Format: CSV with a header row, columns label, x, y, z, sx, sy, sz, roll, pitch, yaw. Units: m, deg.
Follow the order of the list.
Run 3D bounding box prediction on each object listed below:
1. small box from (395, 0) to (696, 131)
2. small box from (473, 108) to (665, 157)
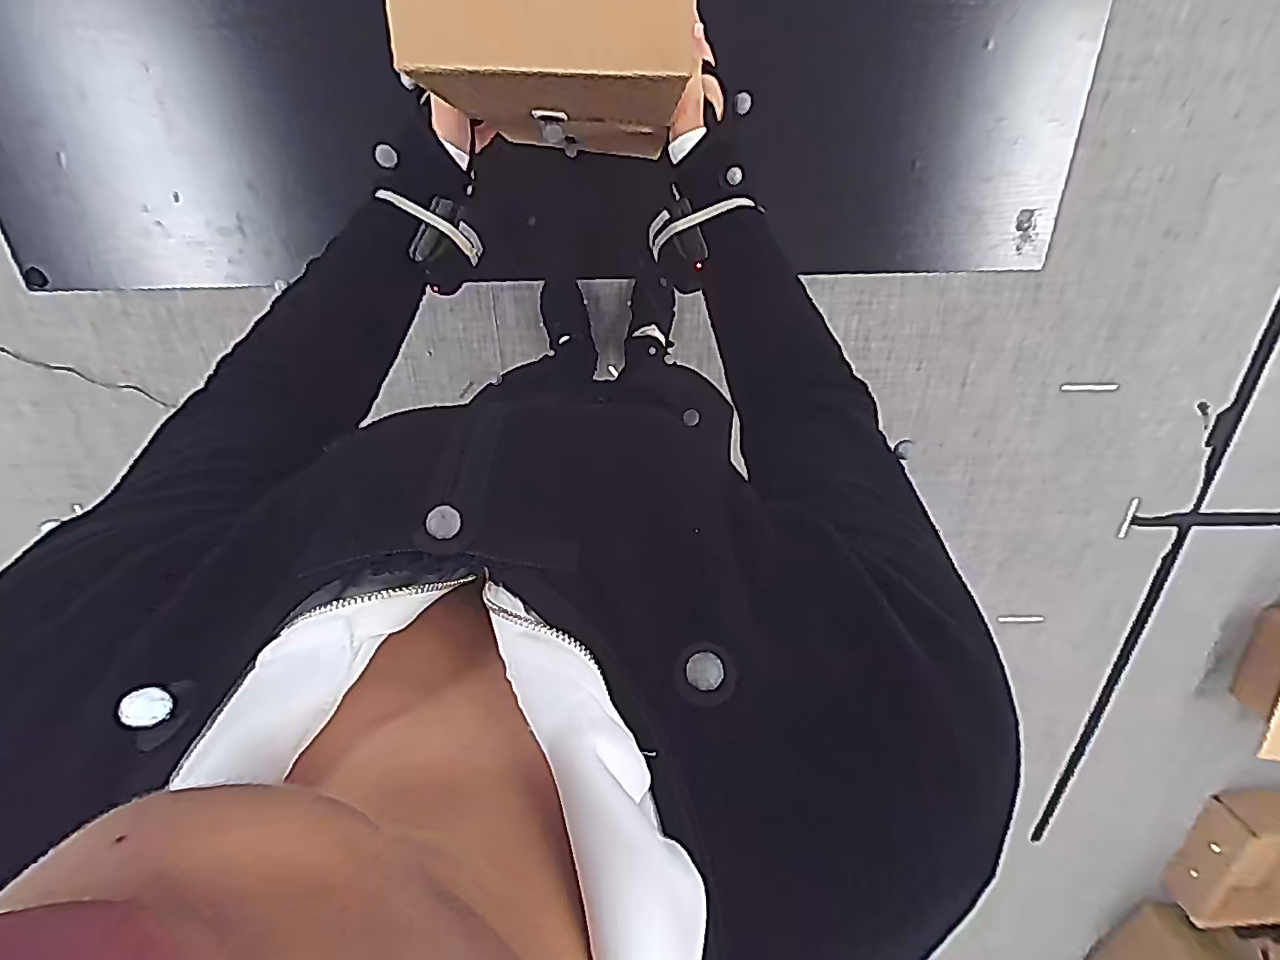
label,x,y,z,sx,sy,sz,roll,pitch,yaw
small box,-0.051,-0.341,0.344,0.168,0.176,0.179,1,116,-1
small box,-0.052,-0.409,0.492,0.168,0.176,0.179,4,114,-4
